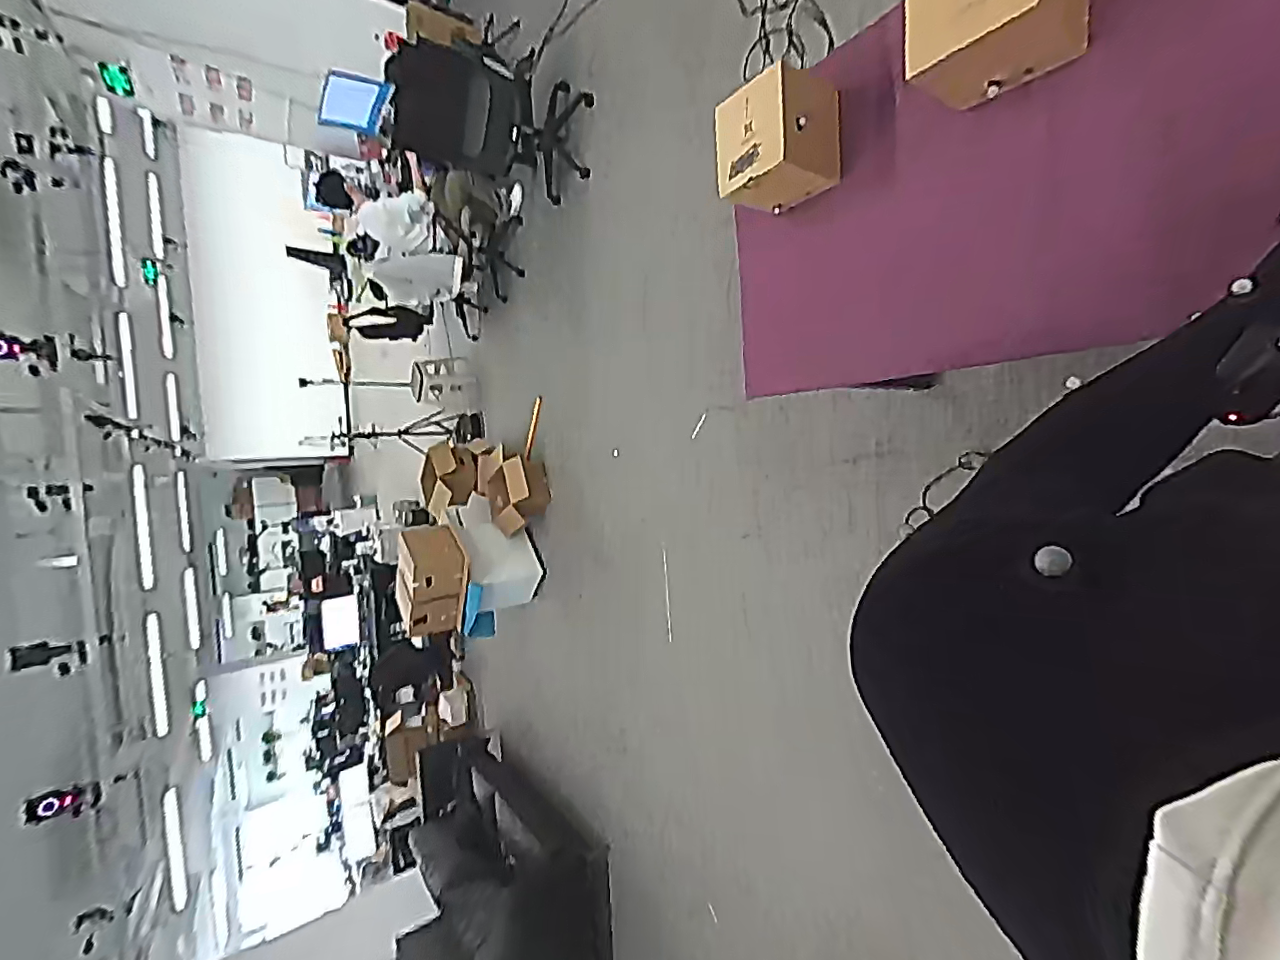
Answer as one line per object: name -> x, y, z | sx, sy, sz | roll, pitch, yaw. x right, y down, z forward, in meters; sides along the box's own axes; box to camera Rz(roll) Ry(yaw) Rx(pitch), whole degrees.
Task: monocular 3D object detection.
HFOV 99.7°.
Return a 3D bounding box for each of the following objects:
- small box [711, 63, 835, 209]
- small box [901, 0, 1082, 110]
small box -> 0.260, -0.648, 1.050 | 0.168, 0.176, 0.179 | 1, 97, 53
small box -> 0.484, -0.660, 0.746 | 0.168, 0.176, 0.179 | 4, 100, 54
